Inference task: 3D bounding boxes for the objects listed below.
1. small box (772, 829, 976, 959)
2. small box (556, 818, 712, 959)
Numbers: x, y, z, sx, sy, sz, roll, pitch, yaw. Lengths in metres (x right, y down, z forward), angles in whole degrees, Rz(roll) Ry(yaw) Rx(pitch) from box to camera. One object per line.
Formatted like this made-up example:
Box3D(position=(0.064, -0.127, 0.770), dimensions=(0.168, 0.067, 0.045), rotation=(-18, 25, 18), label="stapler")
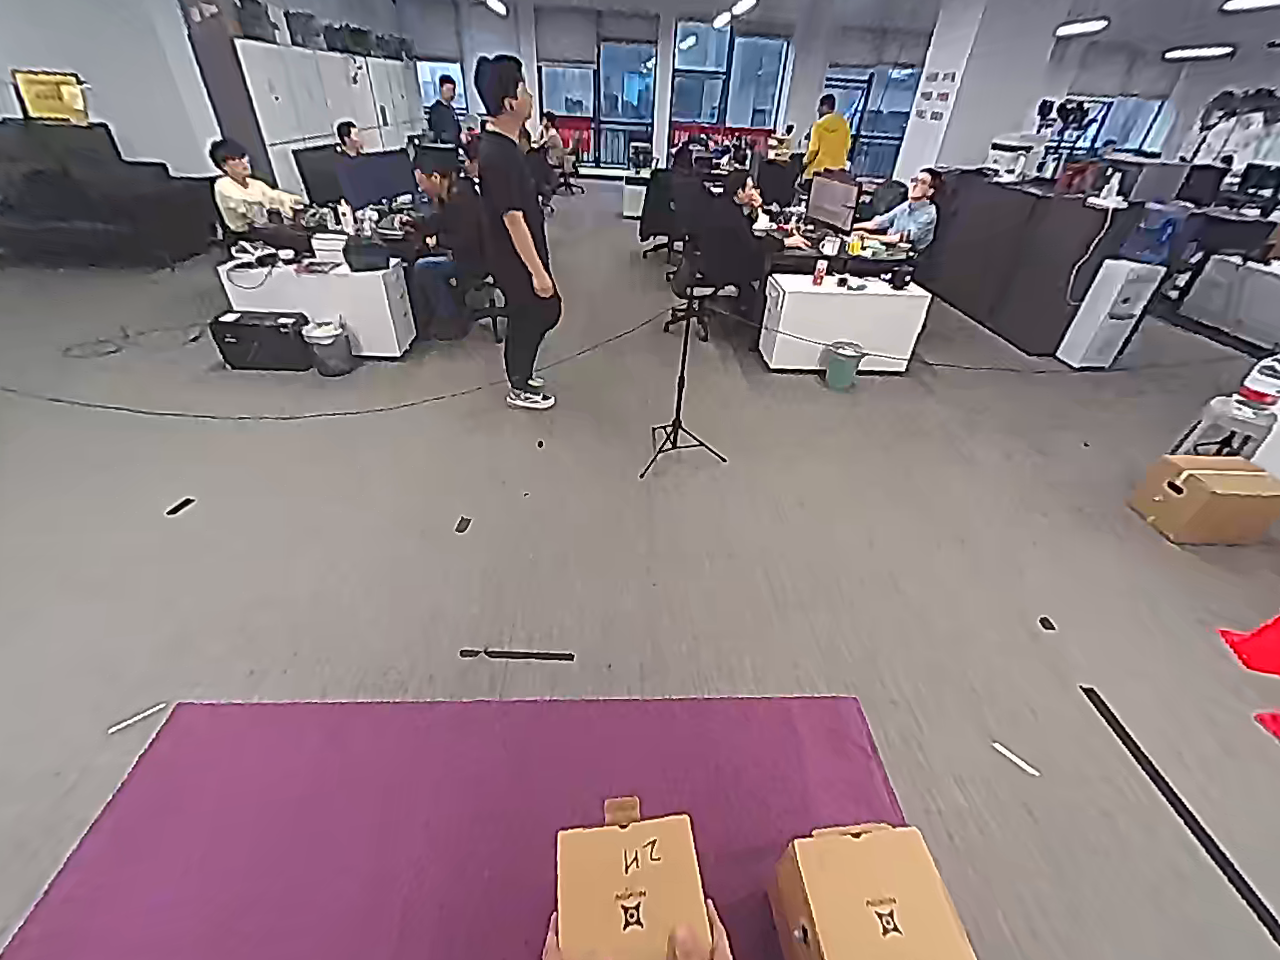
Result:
Box3D(position=(0.271, 0.556, 0.651), dimensions=(0.168, 0.176, 0.179), rotation=(-2, 36, -5), label="small box")
Box3D(position=(-0.011, 0.542, 0.645), dimensions=(0.168, 0.176, 0.179), rotation=(-3, 36, -7), label="small box")
